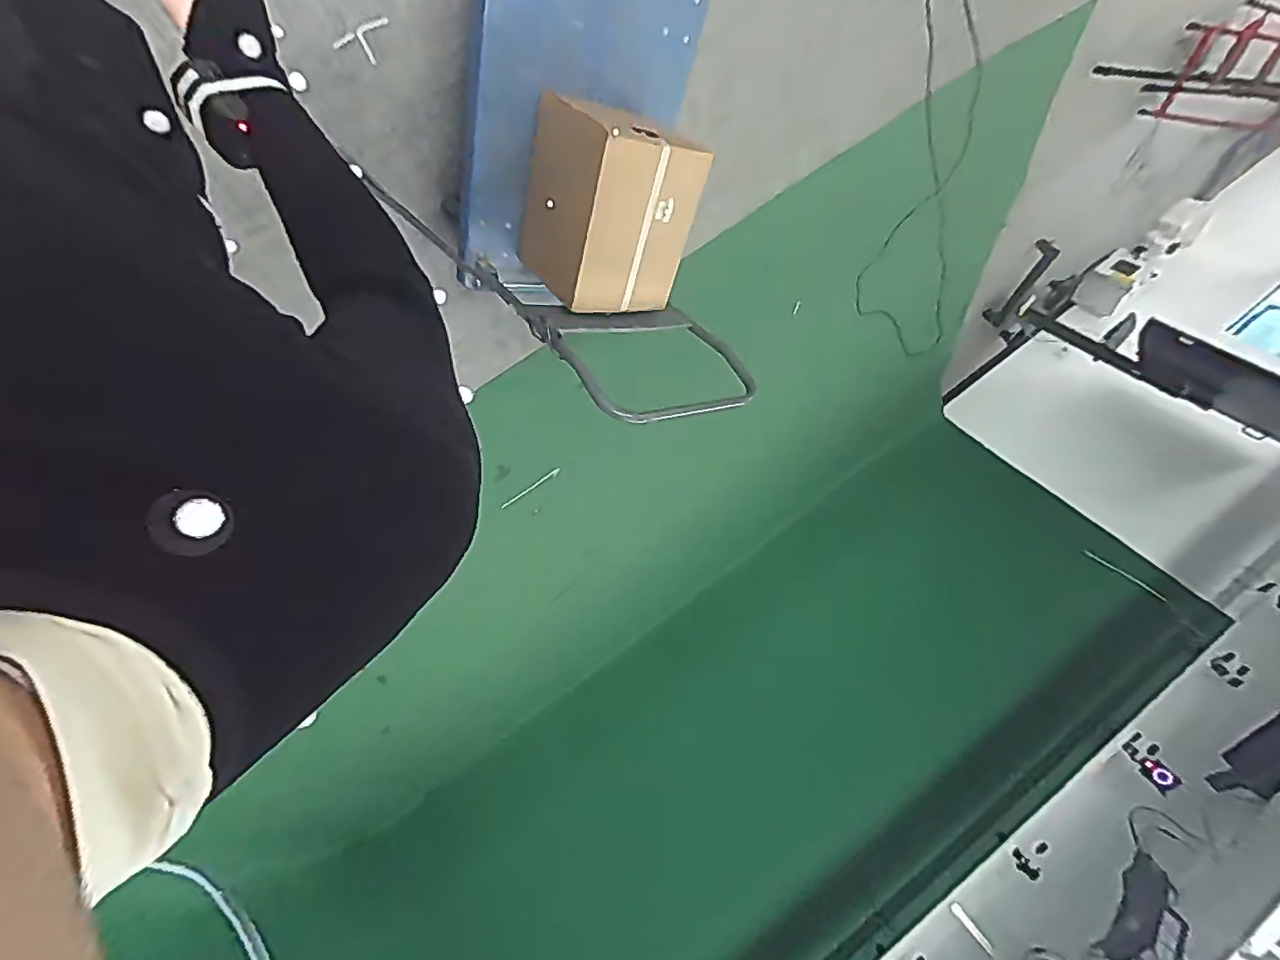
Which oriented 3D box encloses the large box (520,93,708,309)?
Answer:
[{"bbox_3d":[-0.089,-0.699,1.397,0.320,0.320,0.408,-15,140,-36],"label":"large box"}]
